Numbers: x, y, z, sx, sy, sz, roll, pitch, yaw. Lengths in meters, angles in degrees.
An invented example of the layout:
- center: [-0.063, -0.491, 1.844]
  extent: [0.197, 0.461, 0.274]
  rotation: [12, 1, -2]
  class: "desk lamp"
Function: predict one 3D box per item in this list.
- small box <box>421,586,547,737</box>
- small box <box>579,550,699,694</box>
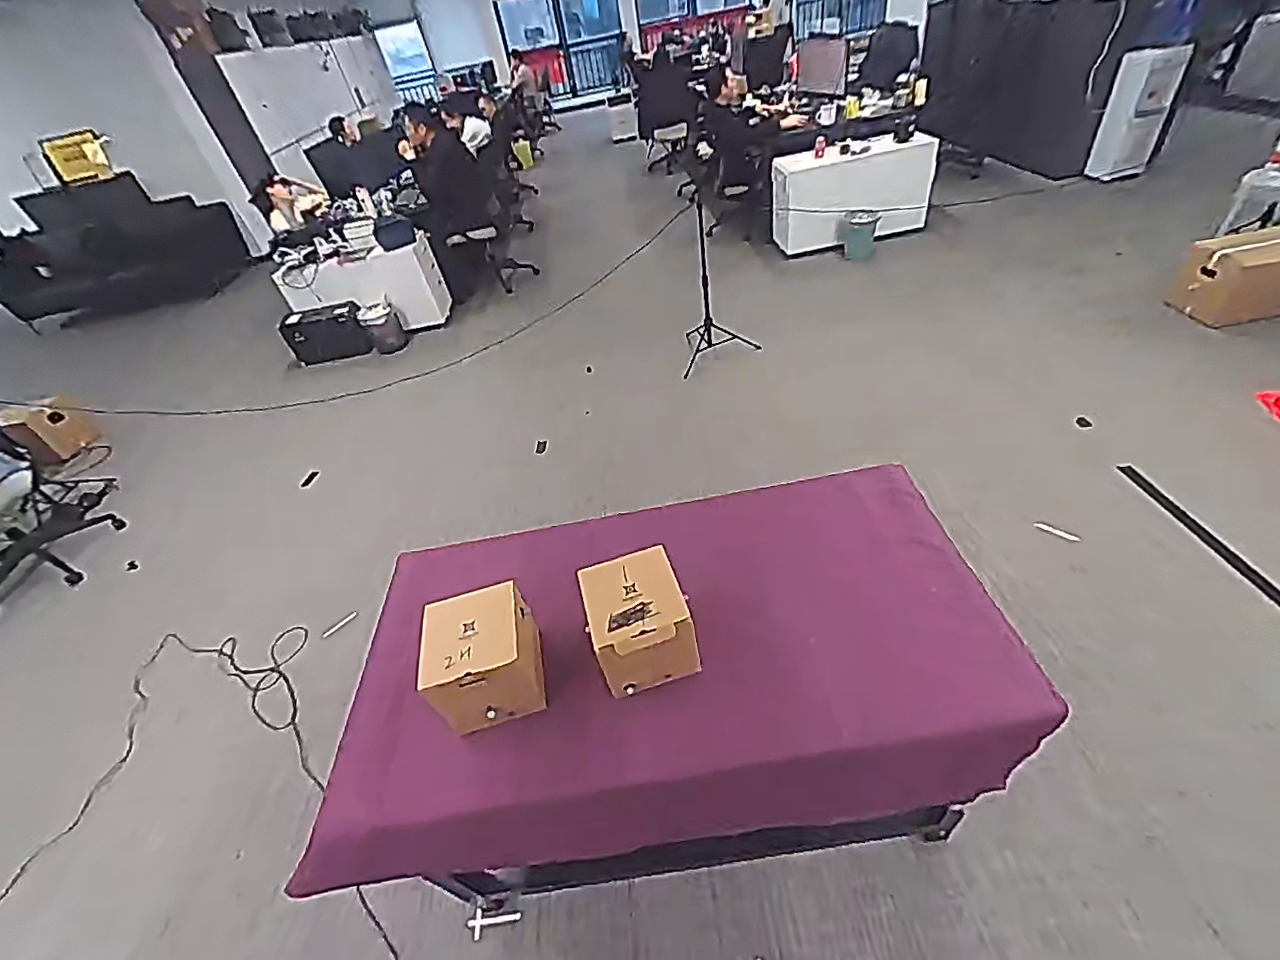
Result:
- center: [-0.275, 0.328, 0.980]
  extent: [0.168, 0.176, 0.179]
  rotation: [-16, 41, -3]
  class: "small box"
- center: [0.000, 0.263, 0.984]
  extent: [0.168, 0.176, 0.179]
  rotation: [-17, 40, -5]
  class: "small box"
